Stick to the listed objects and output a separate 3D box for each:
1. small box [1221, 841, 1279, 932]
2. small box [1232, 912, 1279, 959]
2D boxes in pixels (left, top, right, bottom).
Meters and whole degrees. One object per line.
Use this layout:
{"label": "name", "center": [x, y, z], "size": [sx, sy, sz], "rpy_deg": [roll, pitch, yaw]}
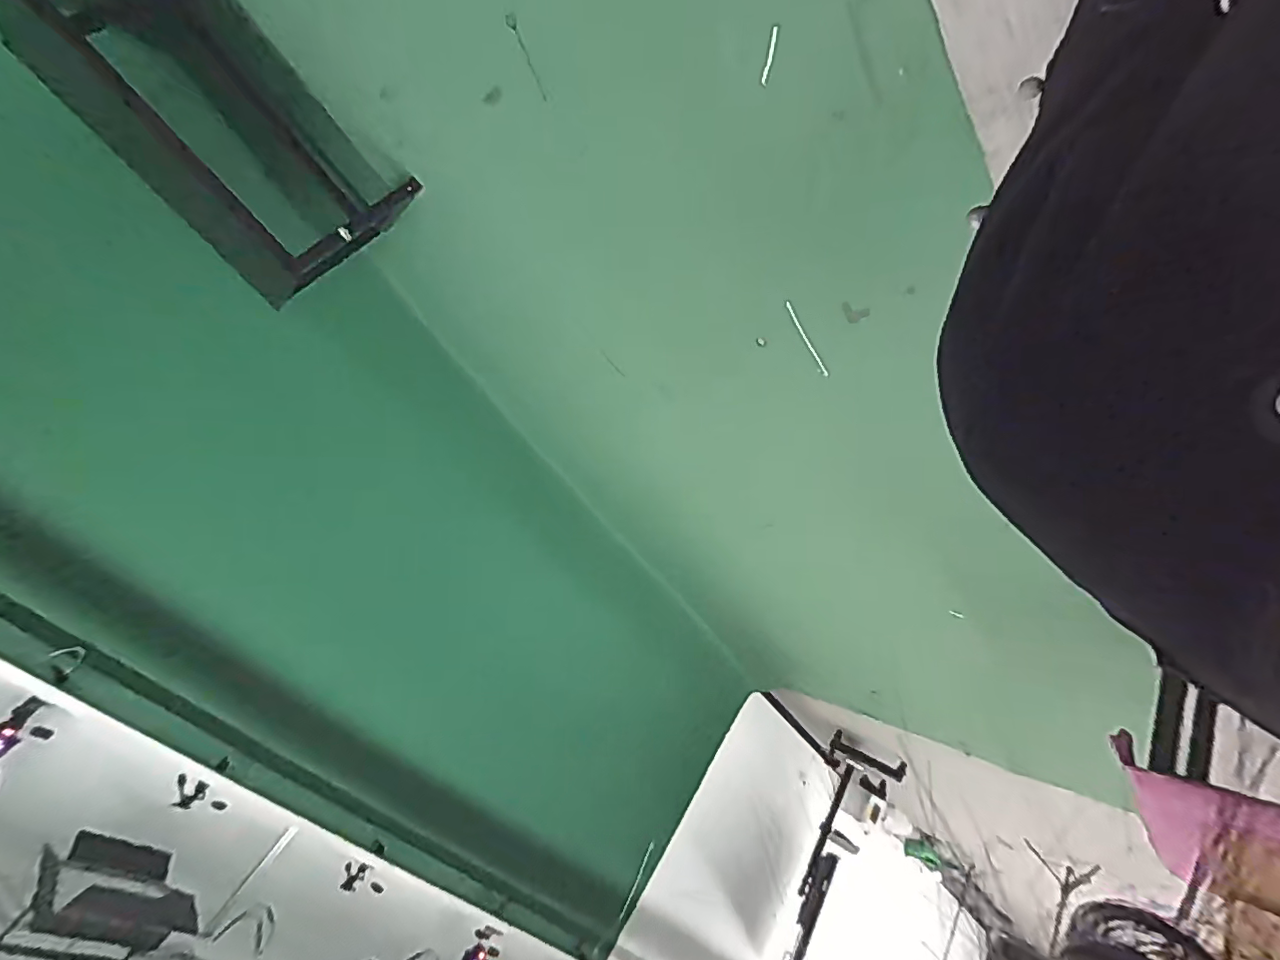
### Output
{"label": "small box", "center": [1.439, 0.944, 1.202], "size": [0.168, 0.176, 0.179], "rpy_deg": [49, 153, -25]}
{"label": "small box", "center": [1.345, 1.047, 1.113], "size": [0.168, 0.176, 0.179], "rpy_deg": [6, 139, 48]}
